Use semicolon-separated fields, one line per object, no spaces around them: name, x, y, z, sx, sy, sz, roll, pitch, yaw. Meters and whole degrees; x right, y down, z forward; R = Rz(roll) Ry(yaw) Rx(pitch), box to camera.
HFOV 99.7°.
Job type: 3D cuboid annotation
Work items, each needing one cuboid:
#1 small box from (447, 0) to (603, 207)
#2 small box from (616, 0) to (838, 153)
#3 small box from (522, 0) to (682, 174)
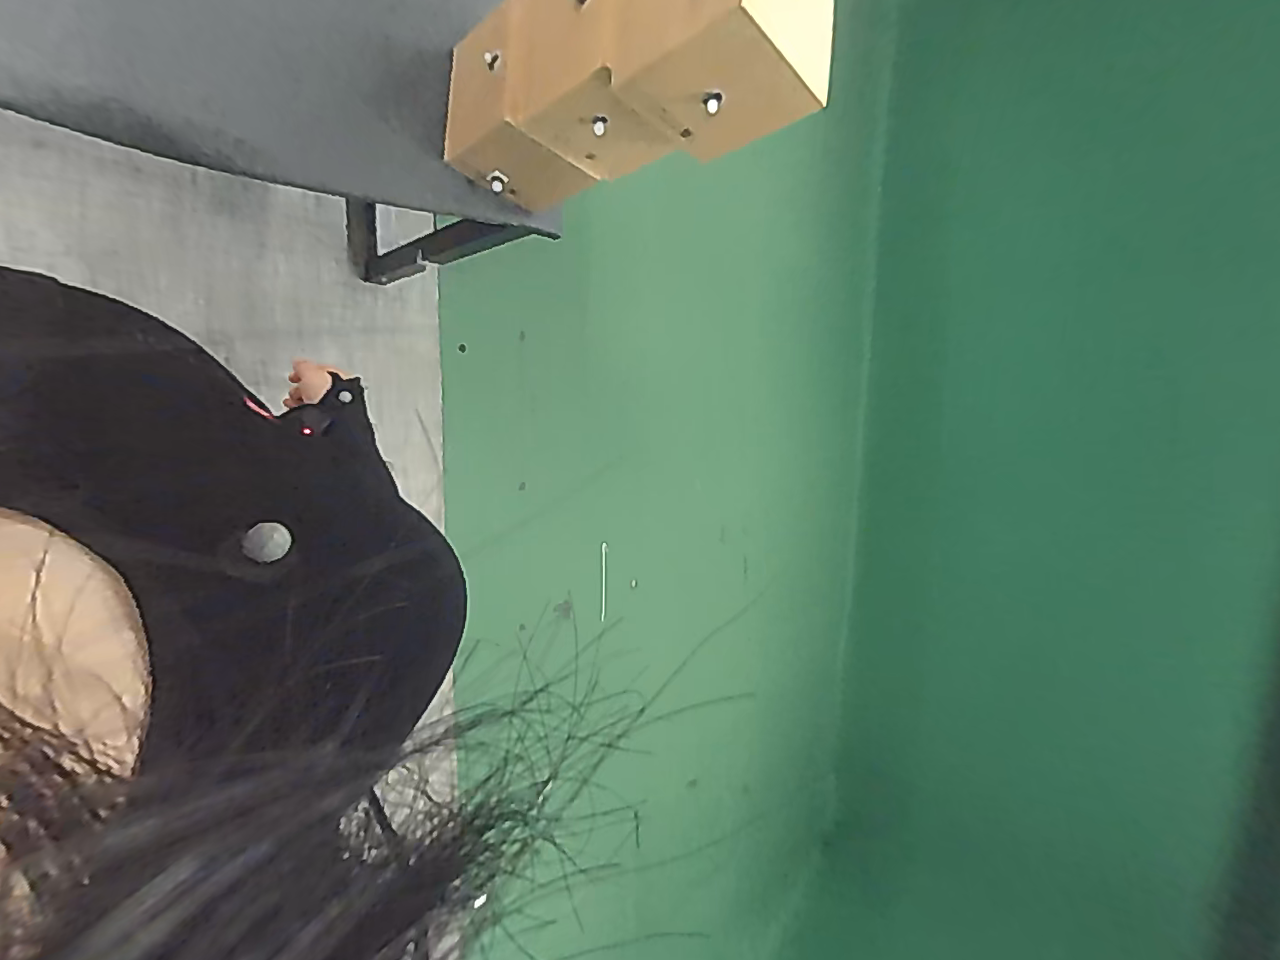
small box;-0.160;-0.533;0.781;0.168;0.176;0.179;6;90;-46
small box;0.091;-0.490;0.572;0.168;0.176;0.179;5;89;-47
small box;-0.033;-0.524;0.680;0.168;0.176;0.179;3;90;-46
